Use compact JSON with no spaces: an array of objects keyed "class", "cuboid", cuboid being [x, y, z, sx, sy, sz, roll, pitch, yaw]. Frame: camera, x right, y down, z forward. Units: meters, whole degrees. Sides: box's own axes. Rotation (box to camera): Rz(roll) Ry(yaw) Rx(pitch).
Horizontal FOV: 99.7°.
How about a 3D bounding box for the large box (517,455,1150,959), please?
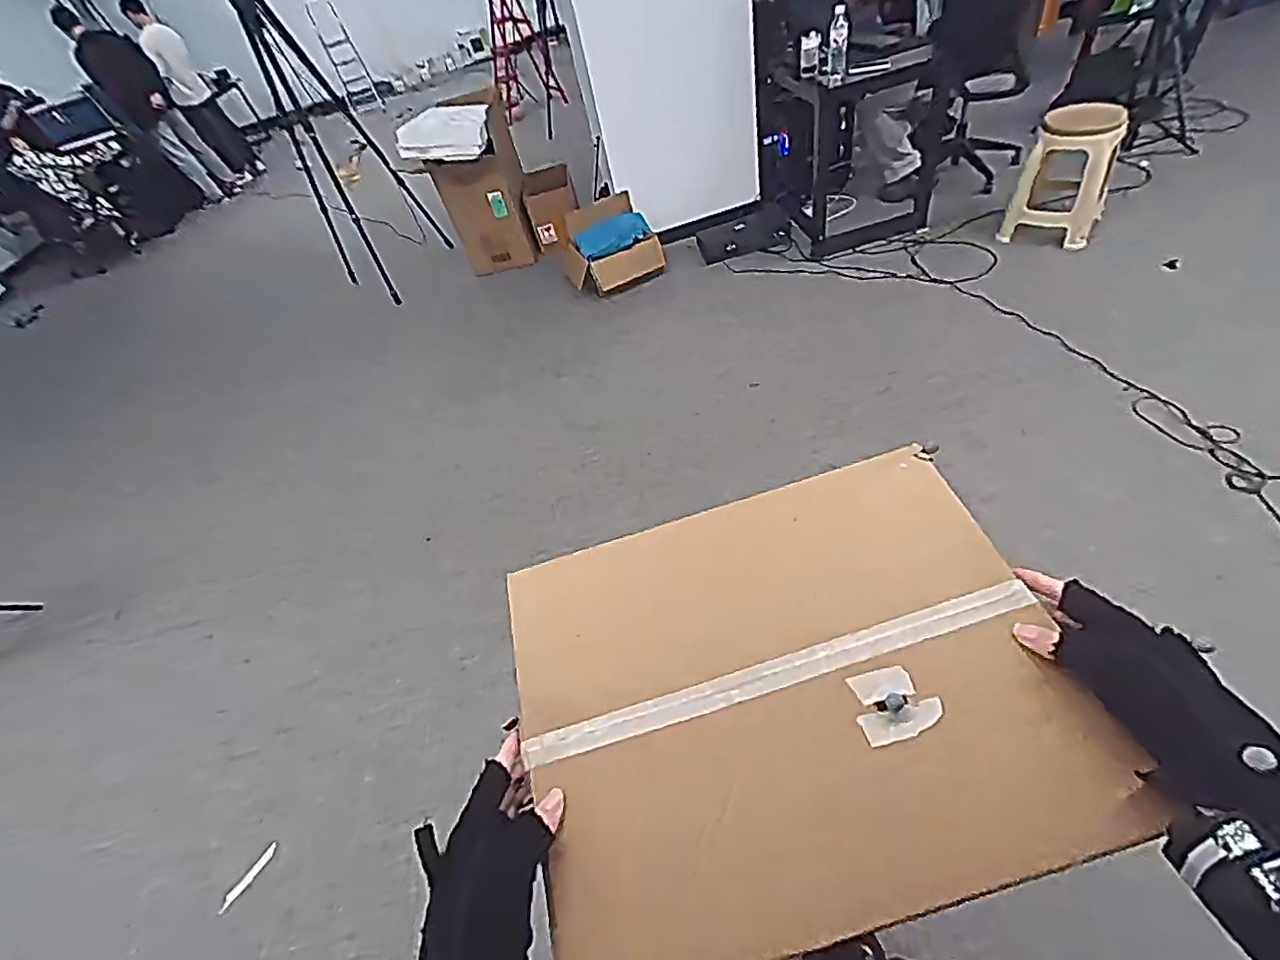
[{"class":"large box","cuboid":[0.133,0.237,0.554,0.408,0.320,0.320,-18,55,-1]}]
